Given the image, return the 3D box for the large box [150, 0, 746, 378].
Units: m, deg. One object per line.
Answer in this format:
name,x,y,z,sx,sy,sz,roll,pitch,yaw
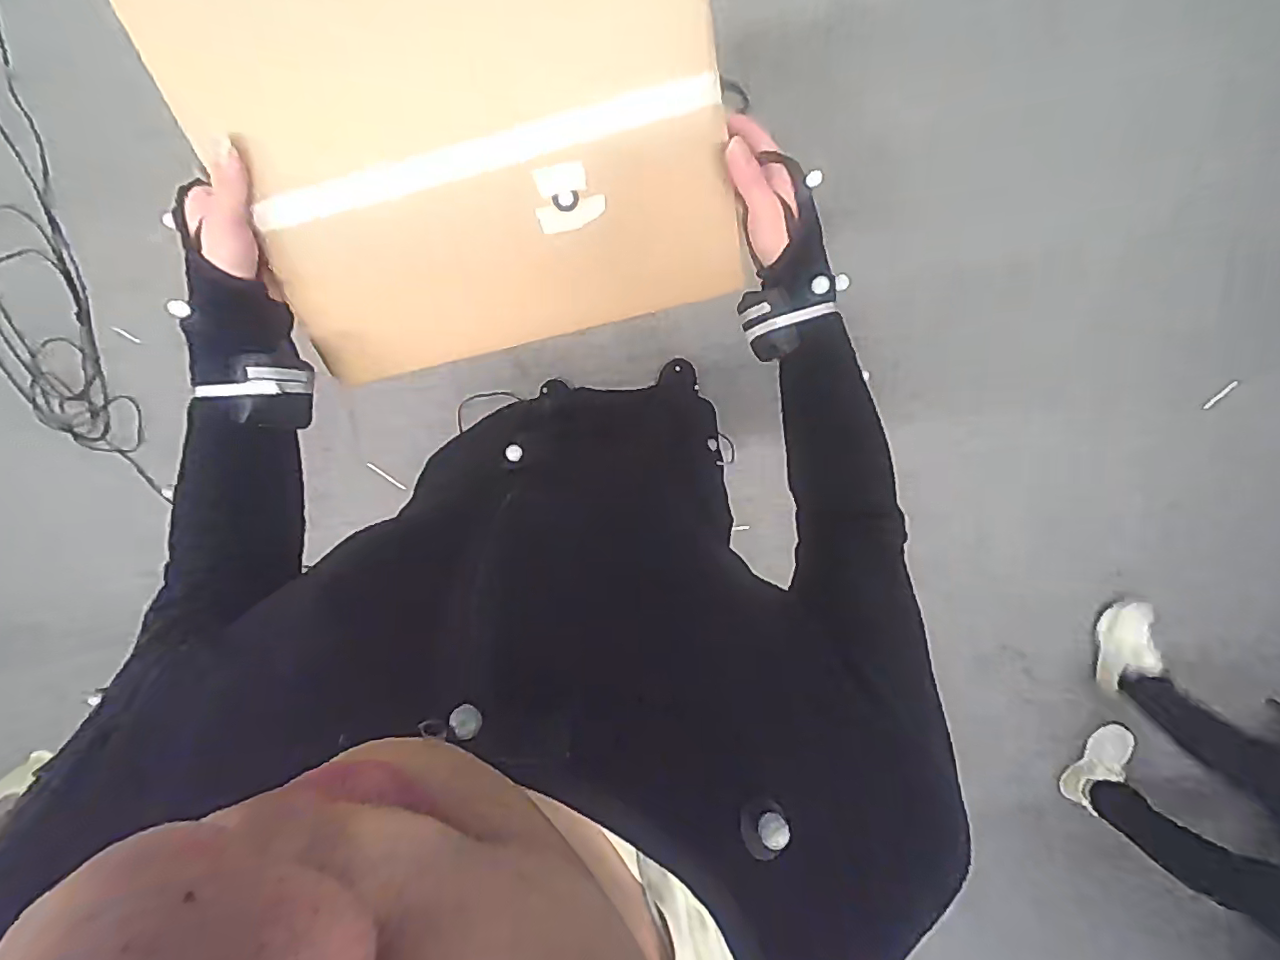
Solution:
large box,-0.135,-0.347,0.571,0.408,0.320,0.320,-13,123,4
